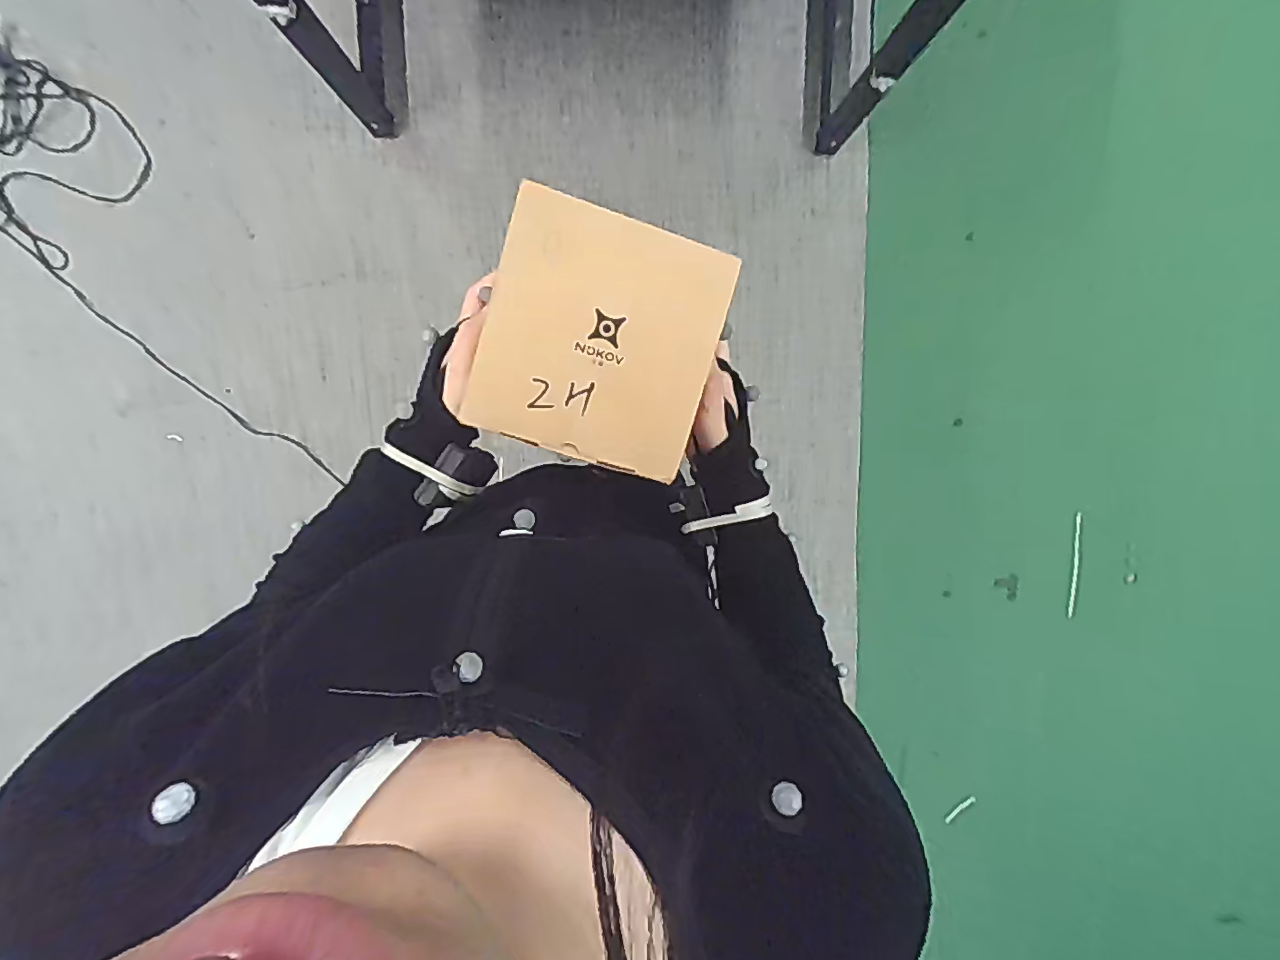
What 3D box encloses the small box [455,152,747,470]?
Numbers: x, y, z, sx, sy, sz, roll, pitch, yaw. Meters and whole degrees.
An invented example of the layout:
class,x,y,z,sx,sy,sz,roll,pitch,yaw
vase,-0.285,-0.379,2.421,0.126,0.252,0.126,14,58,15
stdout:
class,x,y,z,sx,sy,sz,roll,pitch,yaw
small box,-0.036,-0.120,0.450,0.168,0.176,0.179,16,94,-9
